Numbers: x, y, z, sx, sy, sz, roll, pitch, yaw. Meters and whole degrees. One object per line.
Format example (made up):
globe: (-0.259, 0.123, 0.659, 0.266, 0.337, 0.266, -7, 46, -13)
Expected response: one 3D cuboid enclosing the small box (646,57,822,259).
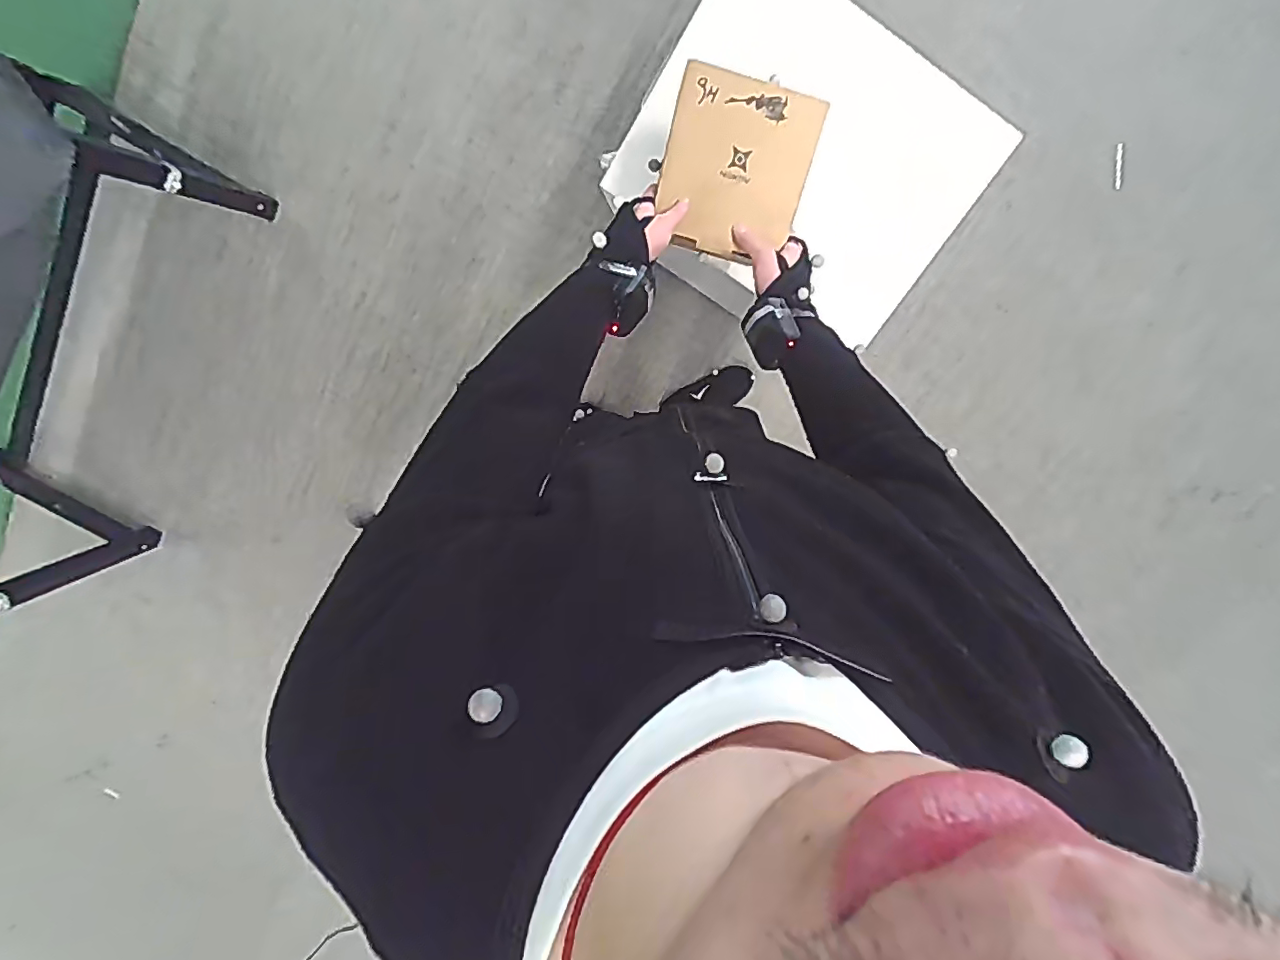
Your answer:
small box: (0.105, -0.391, 0.694, 0.168, 0.176, 0.179, 11, 110, -5)
